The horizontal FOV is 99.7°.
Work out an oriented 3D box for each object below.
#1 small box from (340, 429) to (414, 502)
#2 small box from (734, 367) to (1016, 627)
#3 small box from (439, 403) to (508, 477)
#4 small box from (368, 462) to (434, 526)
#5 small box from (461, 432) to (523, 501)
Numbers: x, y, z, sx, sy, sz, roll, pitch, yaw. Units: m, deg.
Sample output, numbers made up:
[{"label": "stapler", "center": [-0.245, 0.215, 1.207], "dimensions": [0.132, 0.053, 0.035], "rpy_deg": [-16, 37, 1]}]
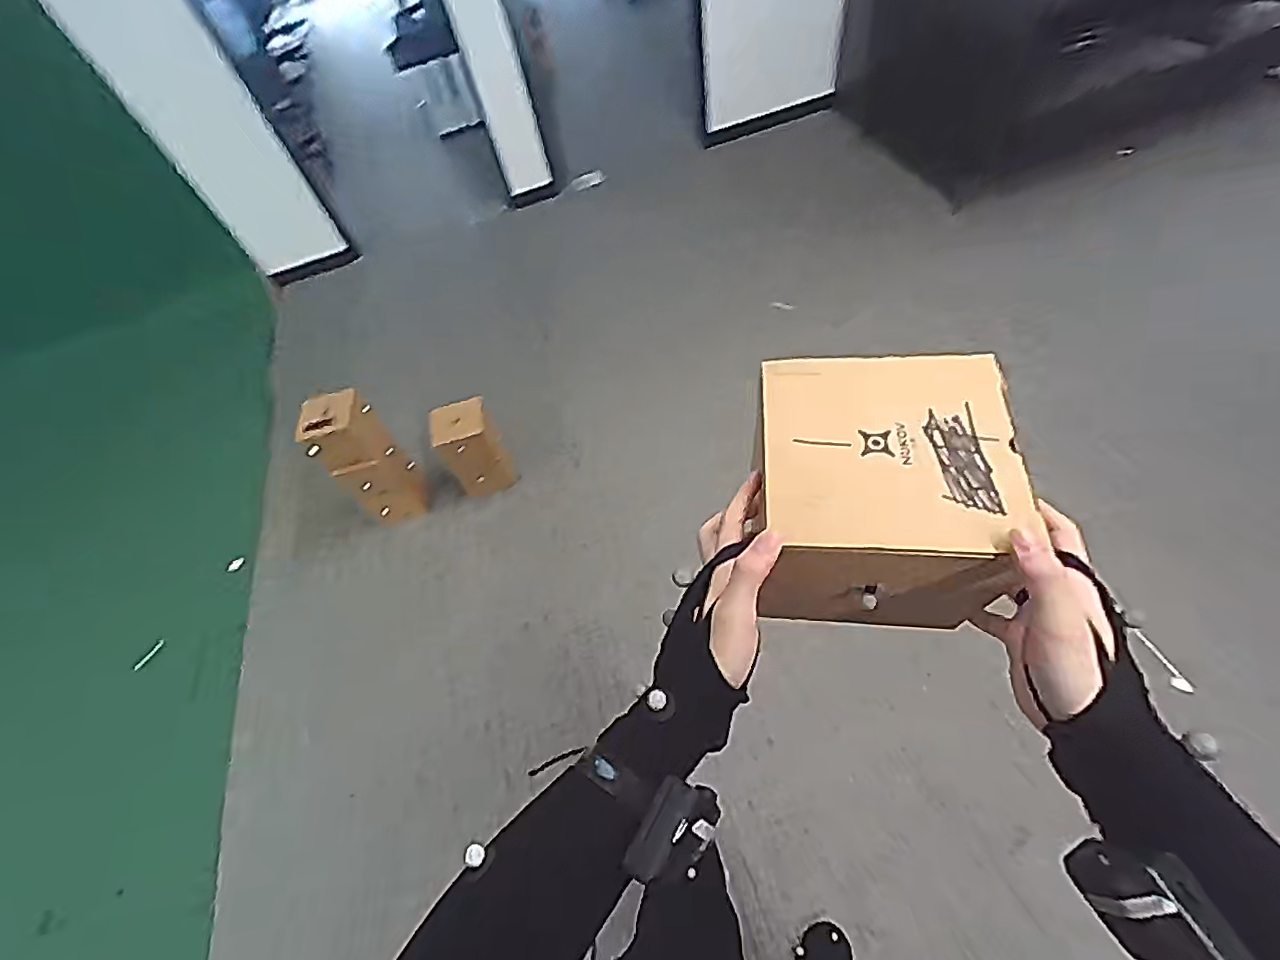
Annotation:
[{"label": "small box", "center": [-0.902, -0.042, 1.871], "dimensions": [0.168, 0.176, 0.179], "rpy_deg": [-14, 54, 0]}, {"label": "small box", "center": [0.174, 0.021, 0.467], "dimensions": [0.179, 0.176, 0.168], "rpy_deg": [0, 58, 9]}, {"label": "small box", "center": [-0.576, -0.132, 1.872], "dimensions": [0.179, 0.176, 0.168], "rpy_deg": [-16, 54, -1]}, {"label": "small box", "center": [-0.881, 0.054, 2.004], "dimensions": [0.168, 0.176, 0.179], "rpy_deg": [-16, 53, 0]}, {"label": "small box", "center": [-0.553, -0.047, 2.011], "dimensions": [0.179, 0.176, 0.168], "rpy_deg": [-18, 54, -1]}]
